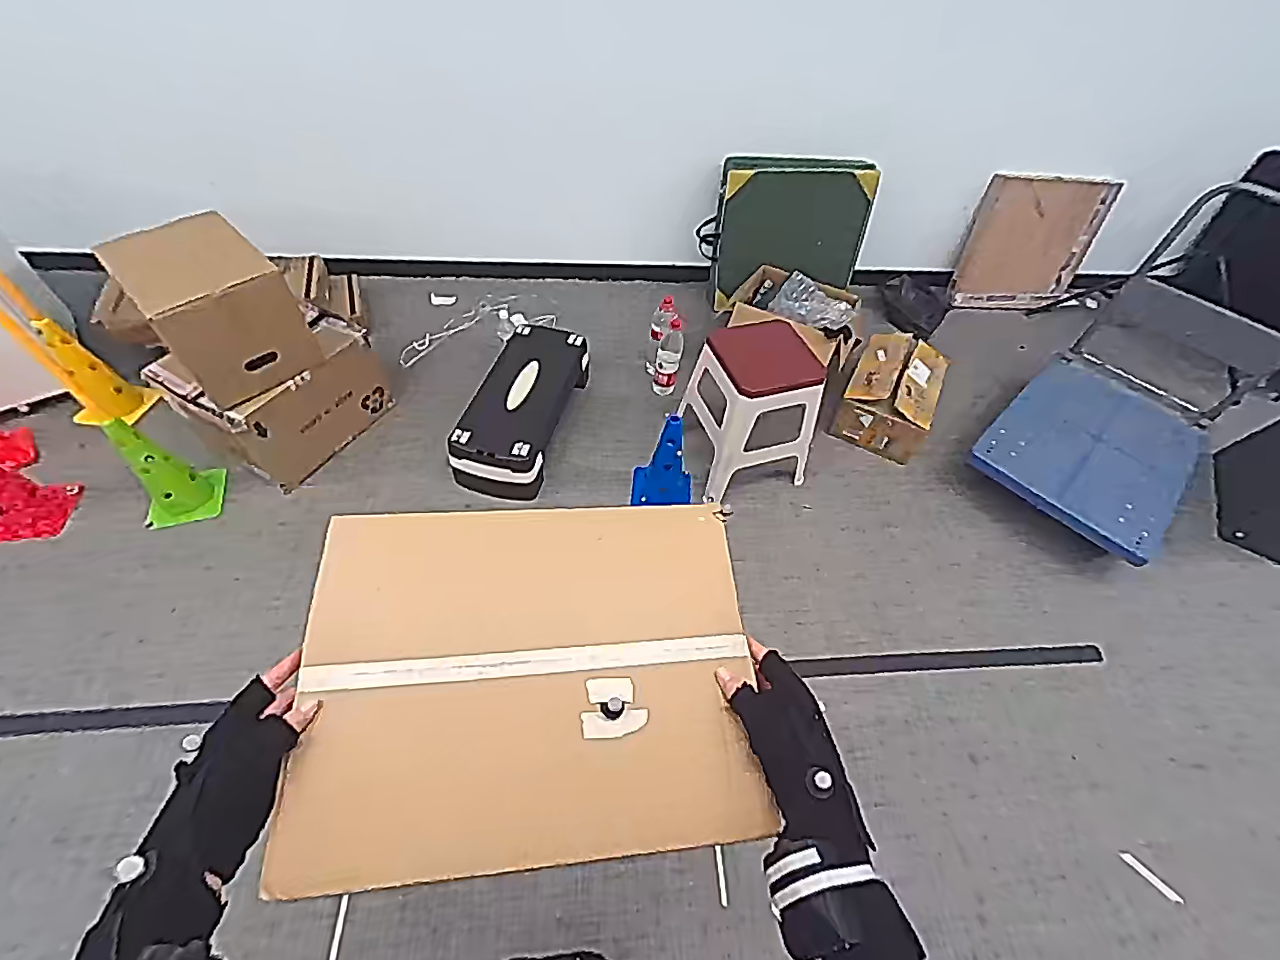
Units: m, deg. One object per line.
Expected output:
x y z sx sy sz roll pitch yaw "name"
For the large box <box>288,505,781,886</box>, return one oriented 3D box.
-0.107 0.240 0.635 0.408 0.320 0.320 -1 61 -9 "large box"
